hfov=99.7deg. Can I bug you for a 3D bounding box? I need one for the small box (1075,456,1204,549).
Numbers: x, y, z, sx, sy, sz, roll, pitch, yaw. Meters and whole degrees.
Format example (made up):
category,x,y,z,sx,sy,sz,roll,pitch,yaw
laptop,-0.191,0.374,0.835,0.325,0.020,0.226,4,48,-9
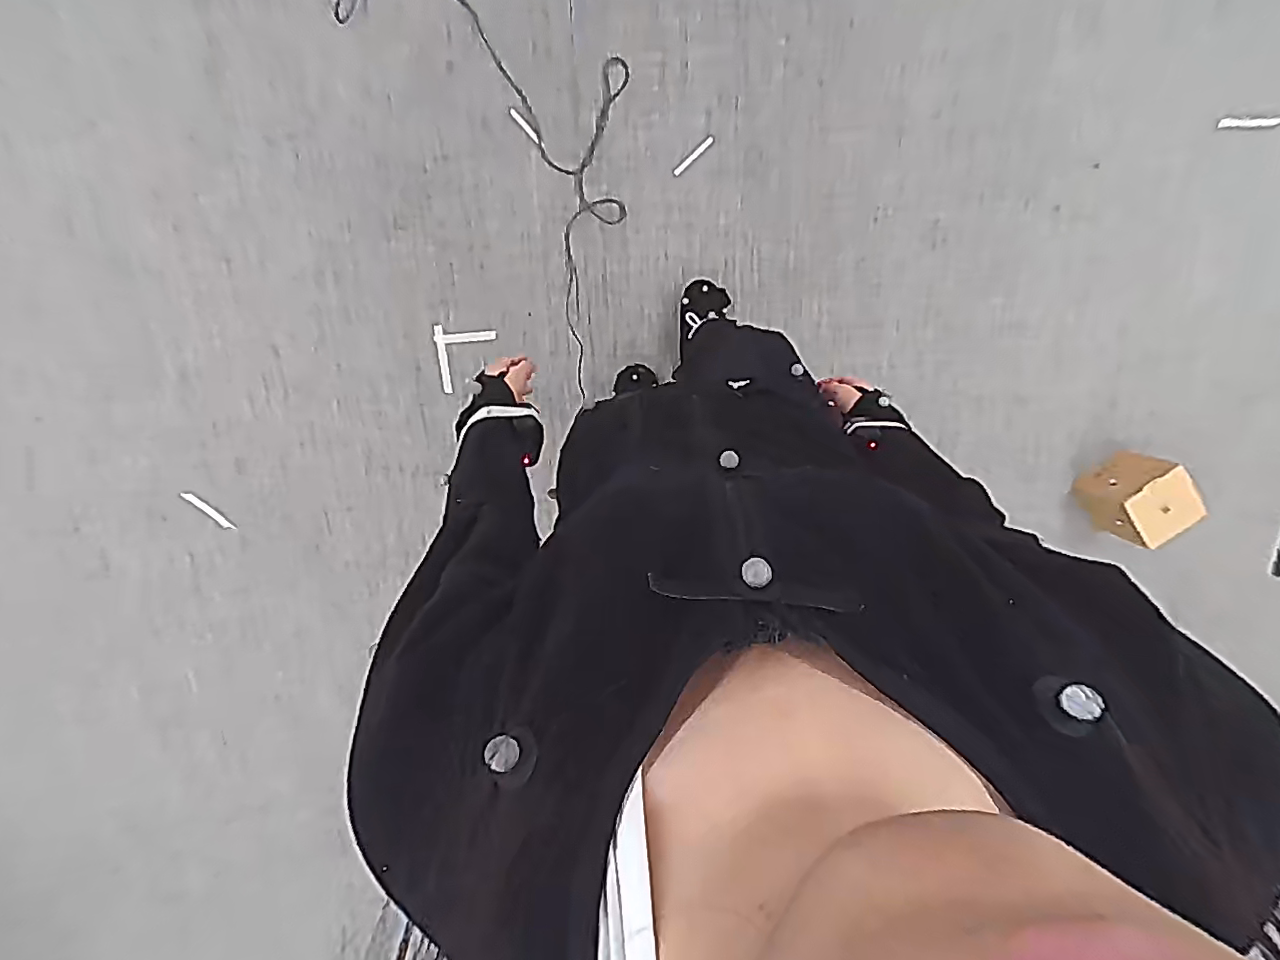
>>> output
category,x,y,z,sx,sy,sz,roll,pitch,yaw
small box,1.354,0.052,1.480,0.168,0.176,0.179,-38,104,9
